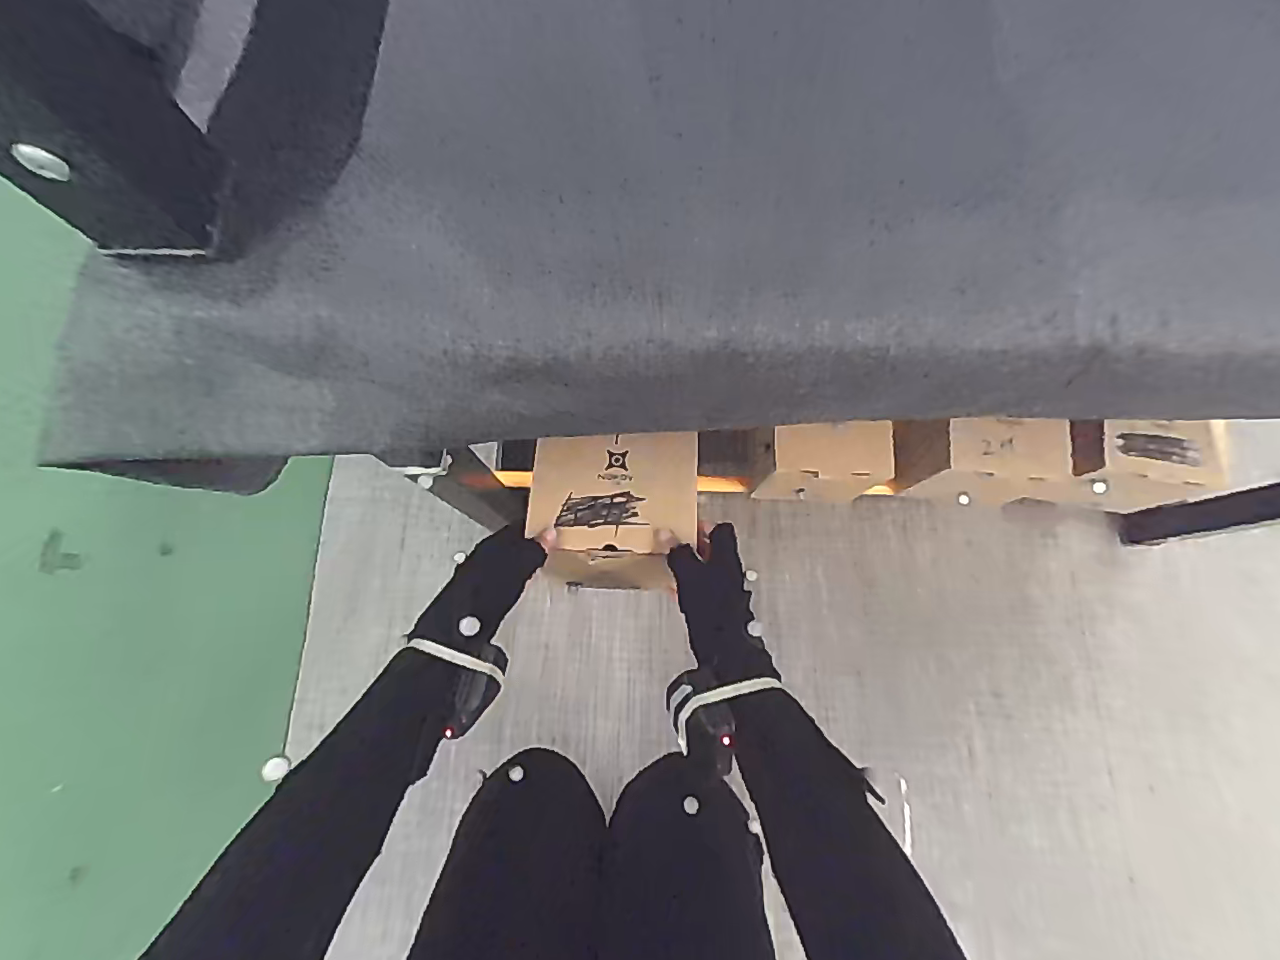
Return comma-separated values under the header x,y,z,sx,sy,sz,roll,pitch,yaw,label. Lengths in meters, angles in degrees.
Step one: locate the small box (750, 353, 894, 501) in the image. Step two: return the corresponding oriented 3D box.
x,y,z,sx,sy,sz,roll,pitch,yaw,label
0.264,-0.074,0.824,0.168,0.176,0.179,3,77,1,small box
